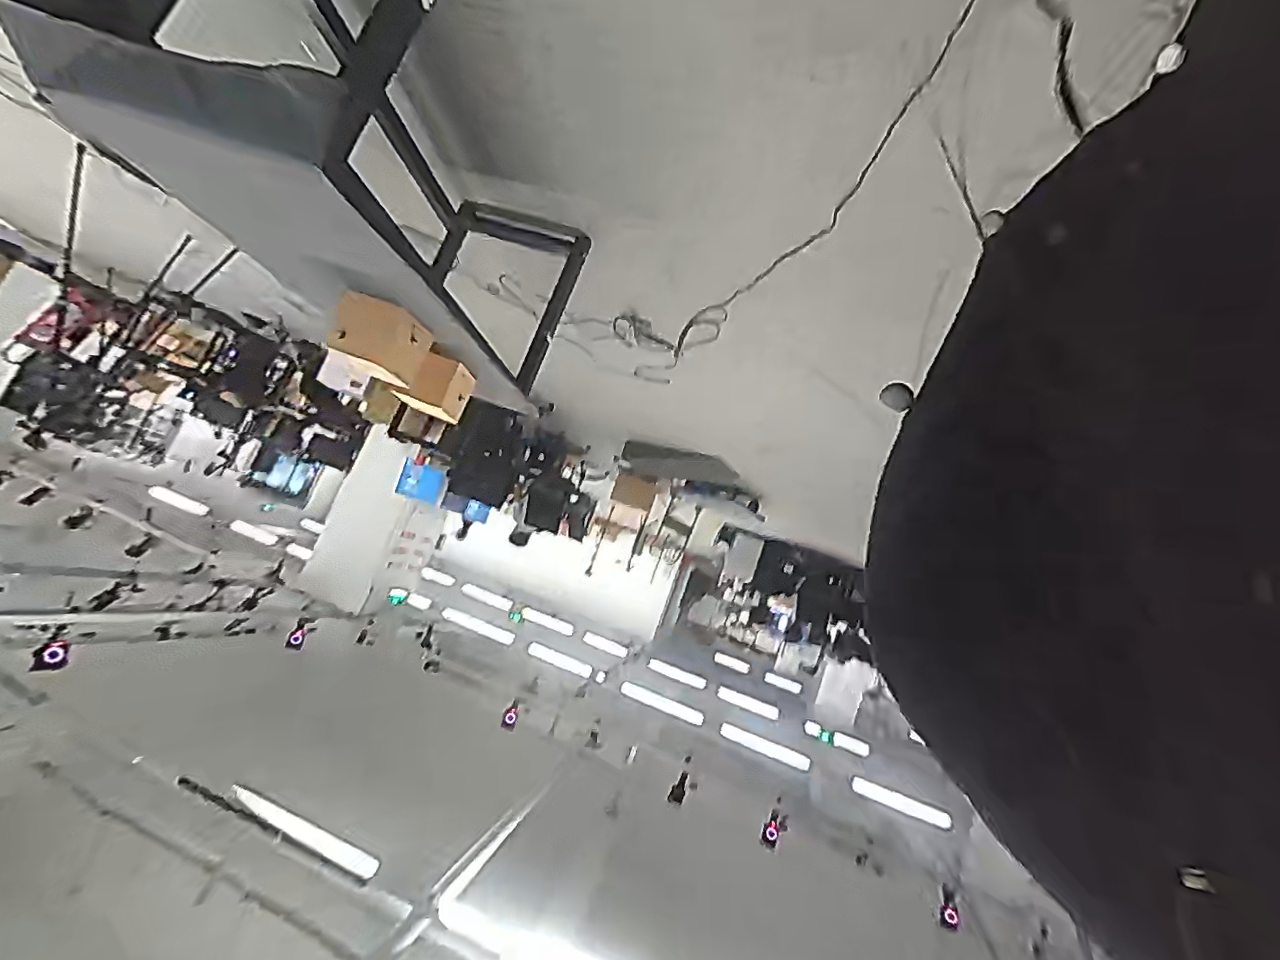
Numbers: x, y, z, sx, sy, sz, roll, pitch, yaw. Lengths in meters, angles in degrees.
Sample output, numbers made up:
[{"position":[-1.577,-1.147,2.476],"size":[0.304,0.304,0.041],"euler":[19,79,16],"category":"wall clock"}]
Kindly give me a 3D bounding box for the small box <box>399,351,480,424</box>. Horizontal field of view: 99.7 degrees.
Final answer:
[{"position":[-0.644,-0.307,1.768],"size":[0.179,0.176,0.168],"euler":[22,170,5],"category":"small box"}]

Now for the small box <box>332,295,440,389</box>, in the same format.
[{"position":[-0.685,-0.377,1.477],"size":[0.179,0.176,0.168],"euler":[20,170,10],"category":"small box"}]
